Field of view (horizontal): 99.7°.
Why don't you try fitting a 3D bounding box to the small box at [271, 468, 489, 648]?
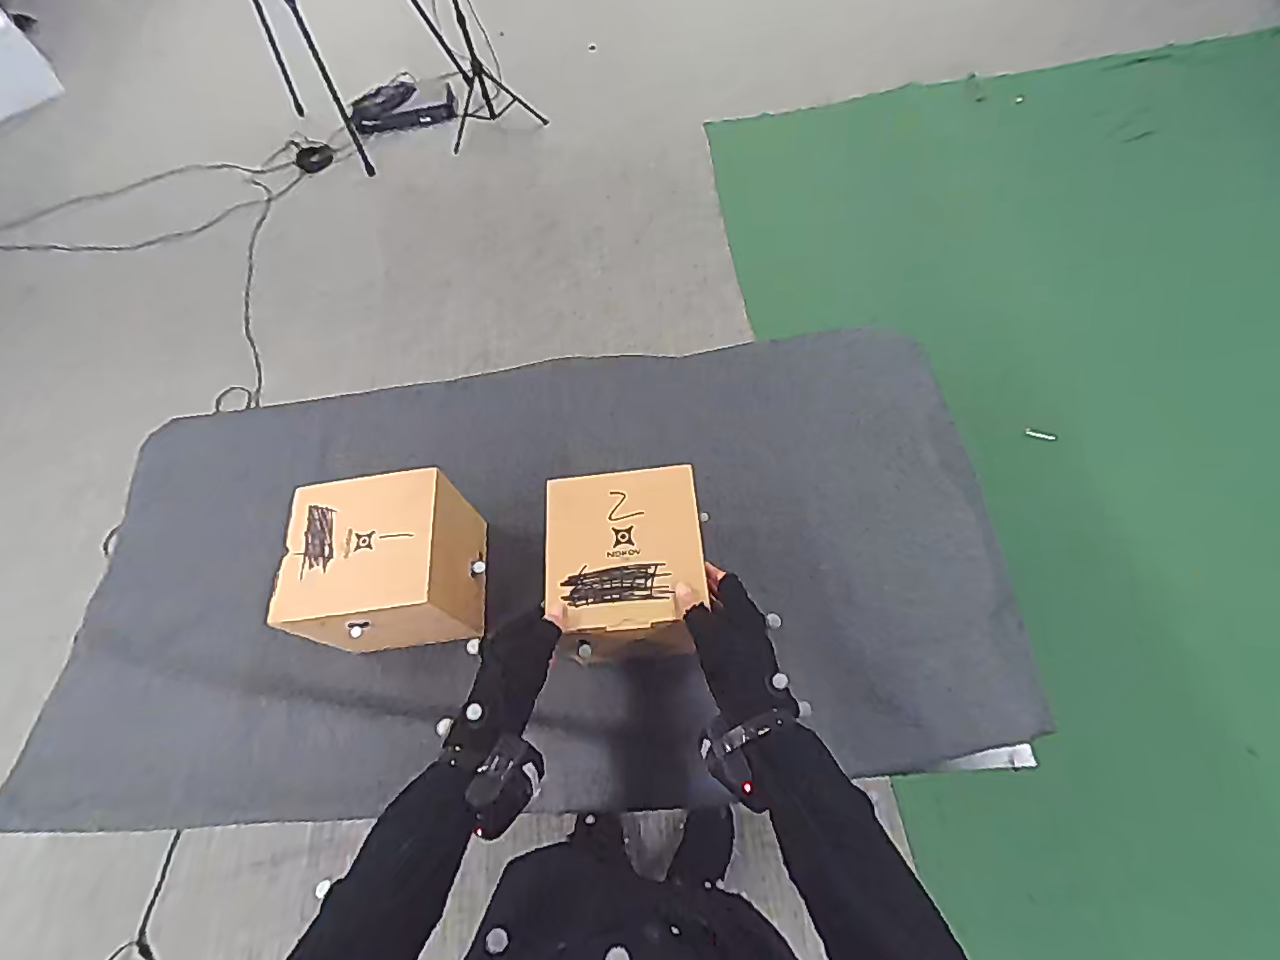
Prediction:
[{"bbox_3d":[-0.306,0.105,0.676,0.179,0.176,0.168,-8,62,2],"label":"small box"}]
